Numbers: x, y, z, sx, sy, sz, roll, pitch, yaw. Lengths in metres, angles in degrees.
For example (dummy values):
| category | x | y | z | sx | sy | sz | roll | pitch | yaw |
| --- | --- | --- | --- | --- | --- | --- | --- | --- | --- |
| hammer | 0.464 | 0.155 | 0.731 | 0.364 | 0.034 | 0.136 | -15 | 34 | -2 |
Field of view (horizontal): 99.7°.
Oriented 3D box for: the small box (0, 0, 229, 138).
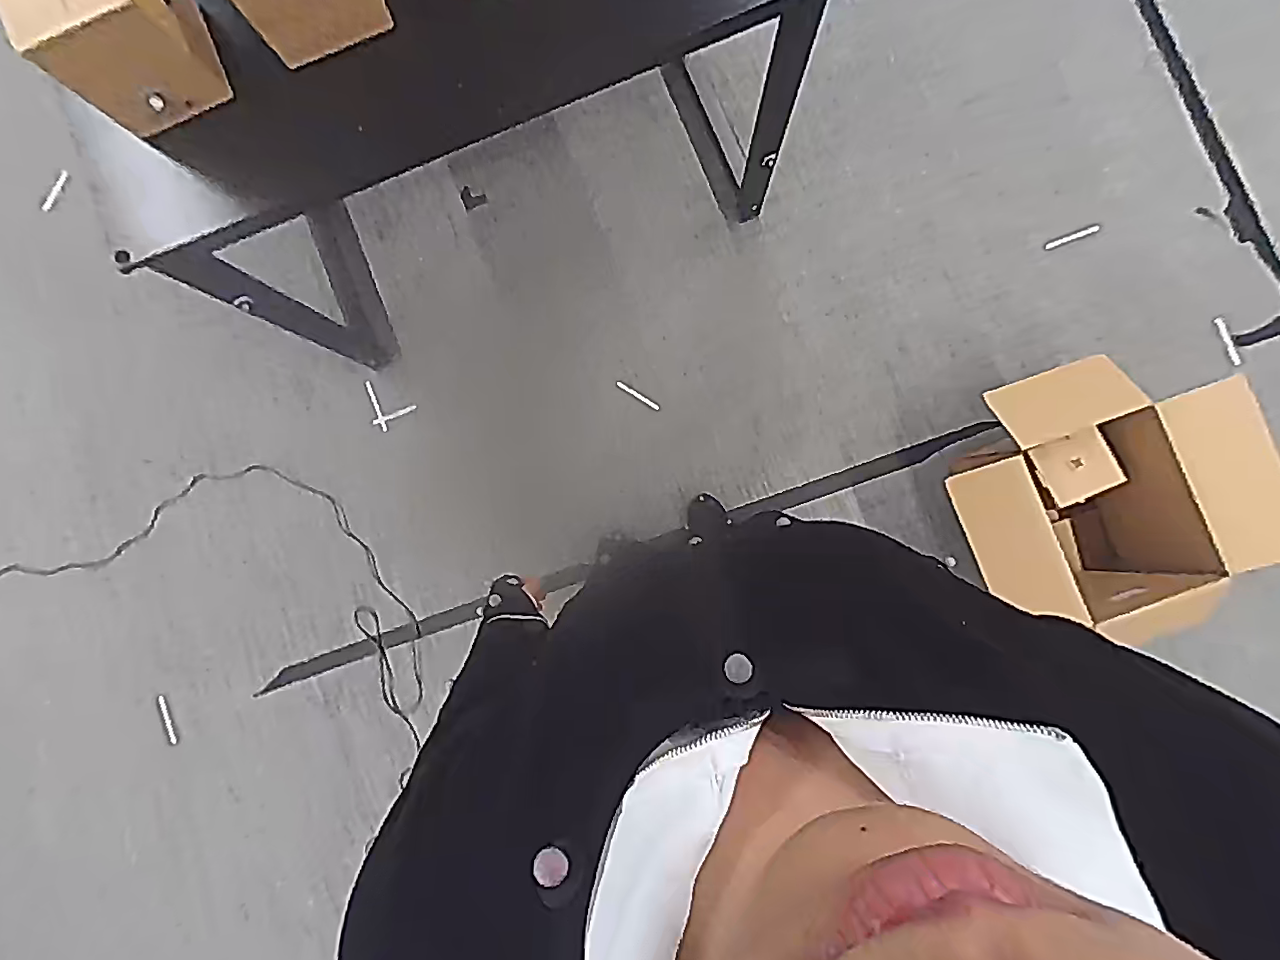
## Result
| category | x | y | z | sx | sy | sz | roll | pitch | yaw |
| --- | --- | --- | --- | --- | --- | --- | --- | --- | --- |
| small box | -0.742 | -0.639 | 0.765 | 0.168 | 0.176 | 0.179 | -24 | 88 | 1 |

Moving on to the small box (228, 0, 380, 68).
| category | x | y | z | sx | sy | sz | roll | pitch | yaw |
| --- | --- | --- | --- | --- | --- | --- | --- | --- | --- |
| small box | -0.495 | -0.739 | 0.758 | 0.179 | 0.176 | 0.168 | -22 | 86 | 1 |
